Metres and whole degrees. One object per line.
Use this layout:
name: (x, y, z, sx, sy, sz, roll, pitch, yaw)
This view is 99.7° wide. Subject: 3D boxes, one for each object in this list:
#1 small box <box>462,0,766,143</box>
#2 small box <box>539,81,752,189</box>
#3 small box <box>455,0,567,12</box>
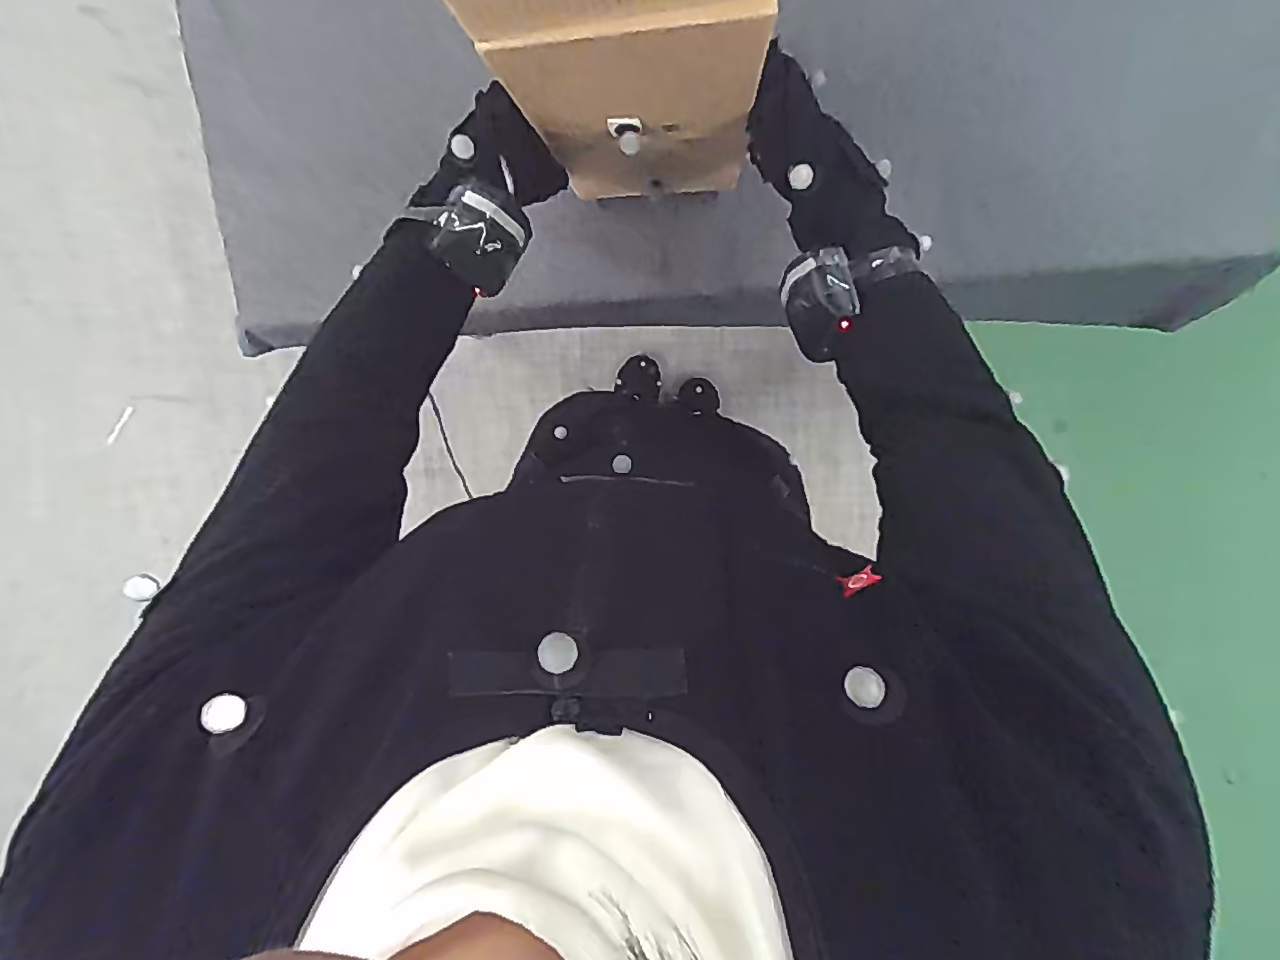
small box: (-0.010, -0.346, 0.345, 0.168, 0.176, 0.179, -1, 105, 7)
small box: (0.007, -0.385, 0.502, 0.179, 0.176, 0.168, -1, 103, 5)
small box: (-0.029, -0.309, 0.186, 0.179, 0.176, 0.168, -3, 103, 7)
